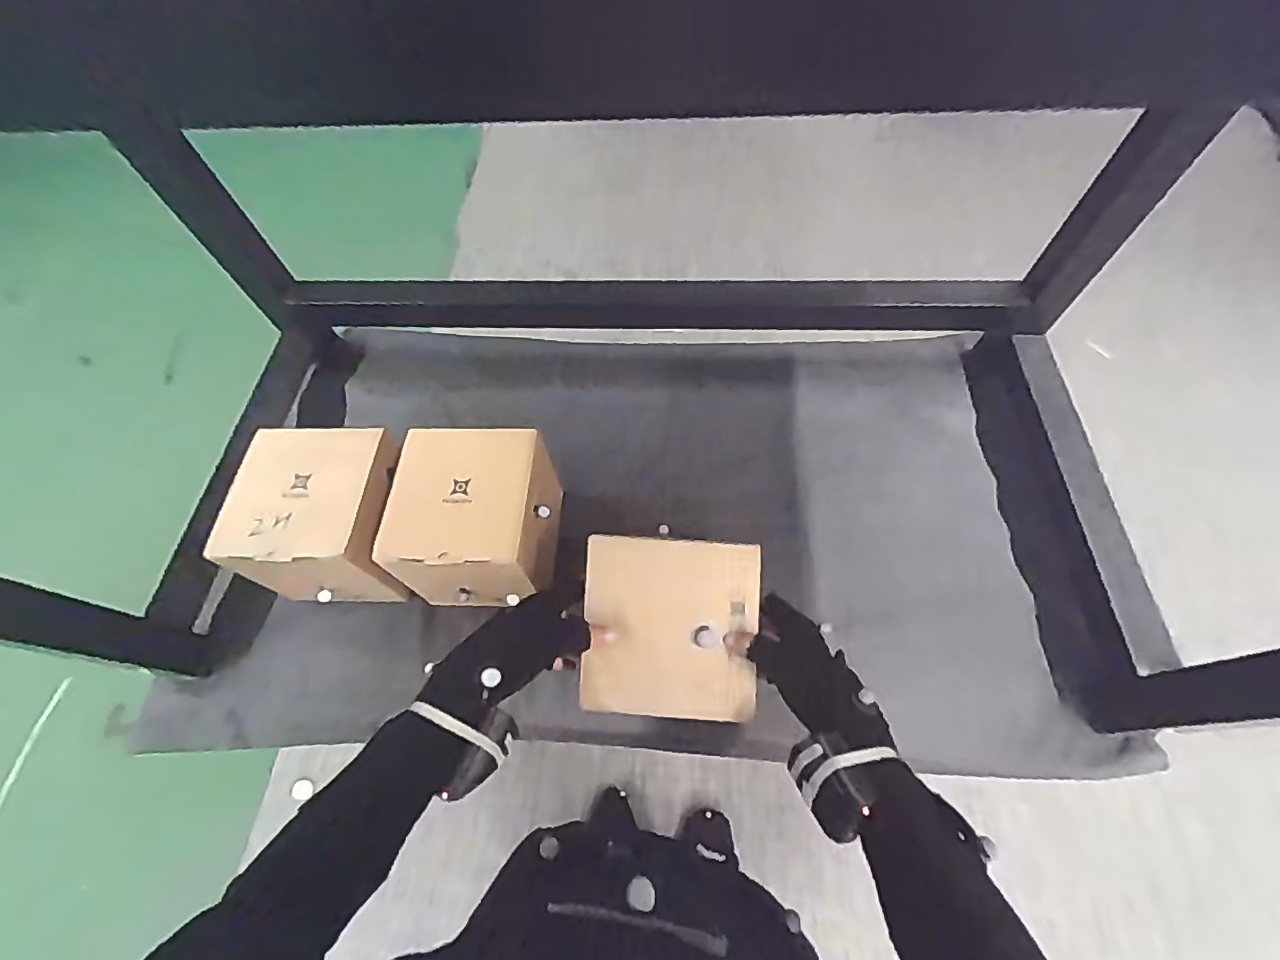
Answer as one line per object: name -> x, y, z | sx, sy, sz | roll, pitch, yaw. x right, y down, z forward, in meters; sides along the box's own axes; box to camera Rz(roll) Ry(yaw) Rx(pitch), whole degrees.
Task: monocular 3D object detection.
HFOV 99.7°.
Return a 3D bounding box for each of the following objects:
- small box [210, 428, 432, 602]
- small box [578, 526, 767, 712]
small box -> -0.394, 0.049, 0.709 | 0.168, 0.176, 0.179 | 0, 61, 4
small box -> 0.034, 0.140, 0.588 | 0.176, 0.179, 0.168 | 3, 87, 2
